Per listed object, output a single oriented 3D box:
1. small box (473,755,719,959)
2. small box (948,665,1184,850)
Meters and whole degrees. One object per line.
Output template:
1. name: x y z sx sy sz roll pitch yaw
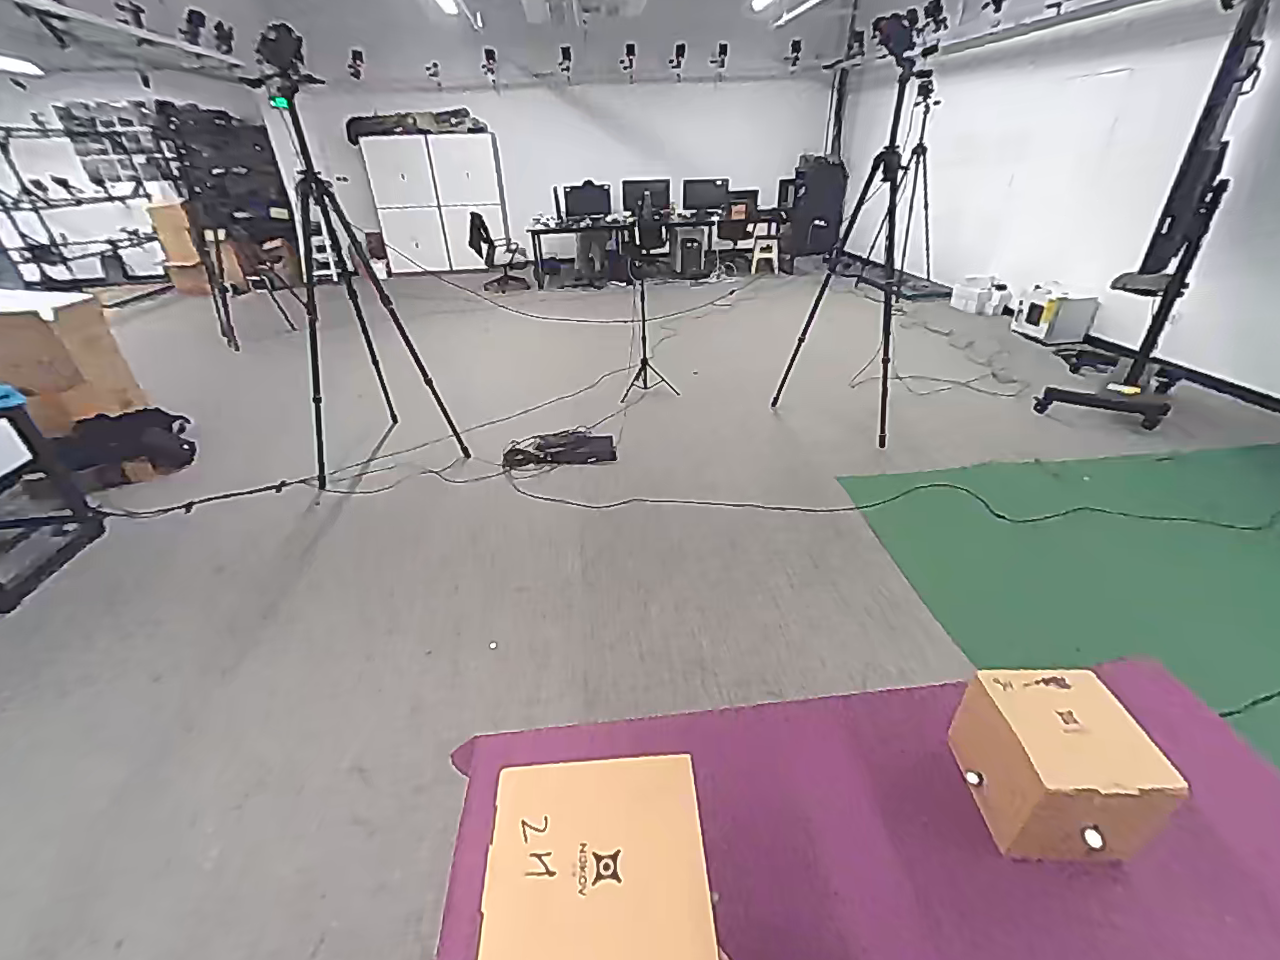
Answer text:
1. small box: -0.033 0.367 0.474 0.179 0.176 0.168 -4 37 -1
2. small box: 0.561 0.380 0.746 0.168 0.176 0.179 -1 32 2
